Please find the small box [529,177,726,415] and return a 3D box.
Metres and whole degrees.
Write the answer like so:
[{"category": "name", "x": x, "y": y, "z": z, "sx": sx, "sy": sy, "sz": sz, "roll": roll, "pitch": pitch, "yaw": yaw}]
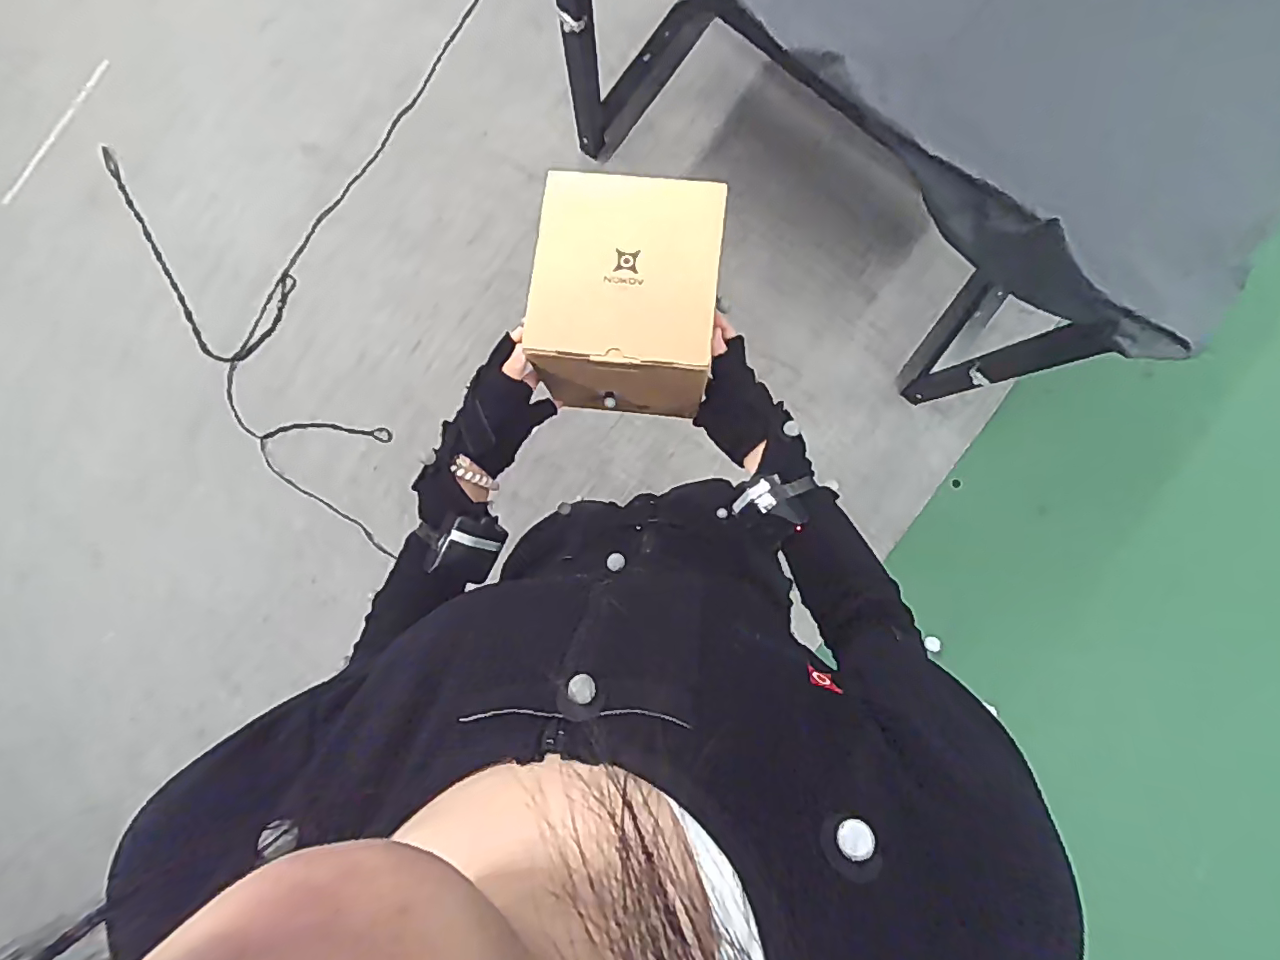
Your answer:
[{"category": "small box", "x": -0.009, "y": -0.180, "z": 0.573, "sx": 0.168, "sy": 0.176, "sz": 0.179, "roll": 6, "pitch": 84, "yaw": 3}]
